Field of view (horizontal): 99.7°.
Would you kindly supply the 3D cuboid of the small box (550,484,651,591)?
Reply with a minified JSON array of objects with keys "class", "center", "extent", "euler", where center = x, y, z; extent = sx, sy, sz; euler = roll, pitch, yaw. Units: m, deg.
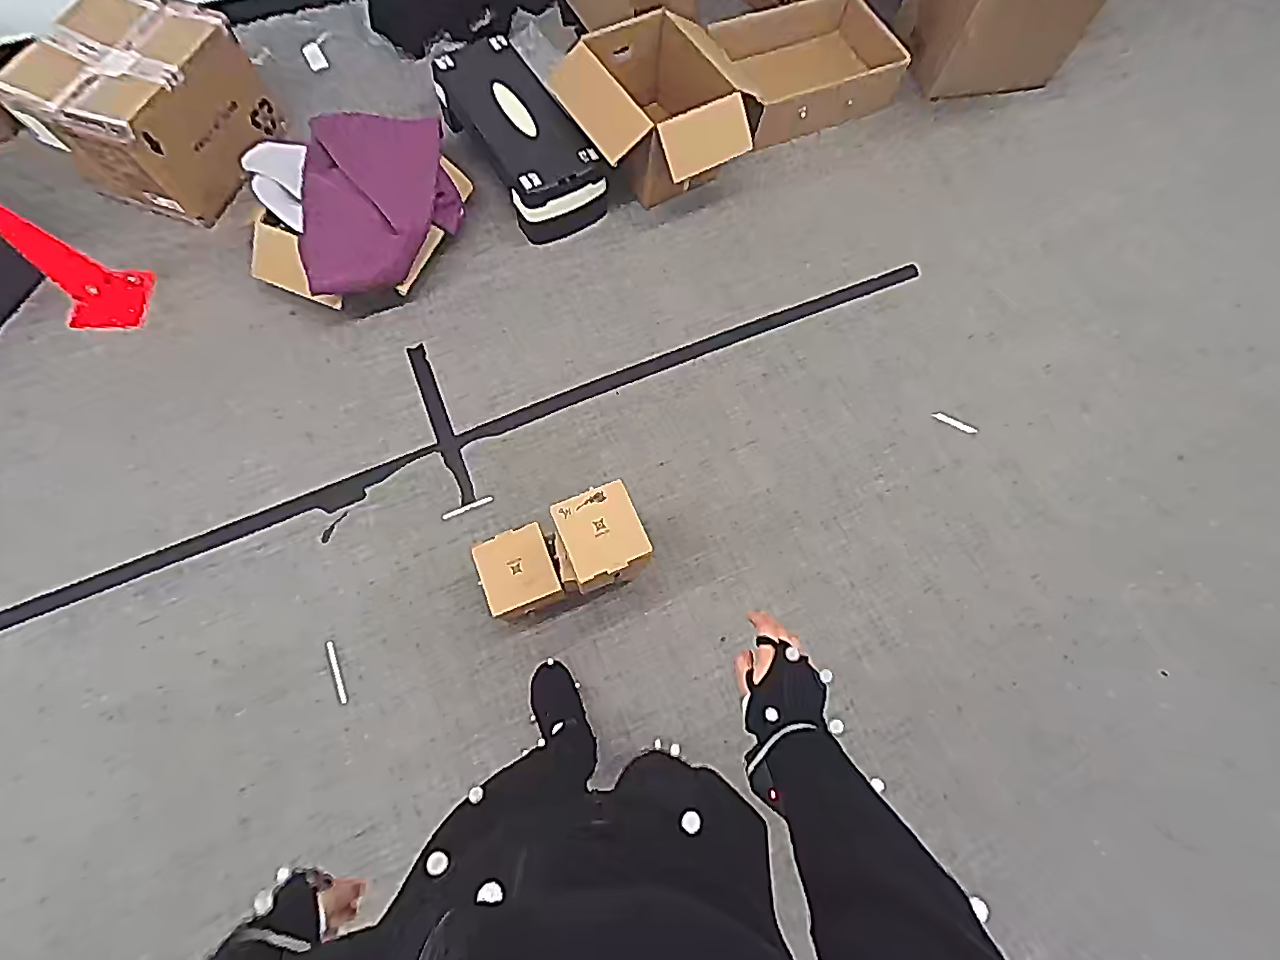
[{"class":"small box","center":[-0.087,0.136,1.198],"extent":[0.168,0.176,0.179],"euler":[-22,74,-11]}]
